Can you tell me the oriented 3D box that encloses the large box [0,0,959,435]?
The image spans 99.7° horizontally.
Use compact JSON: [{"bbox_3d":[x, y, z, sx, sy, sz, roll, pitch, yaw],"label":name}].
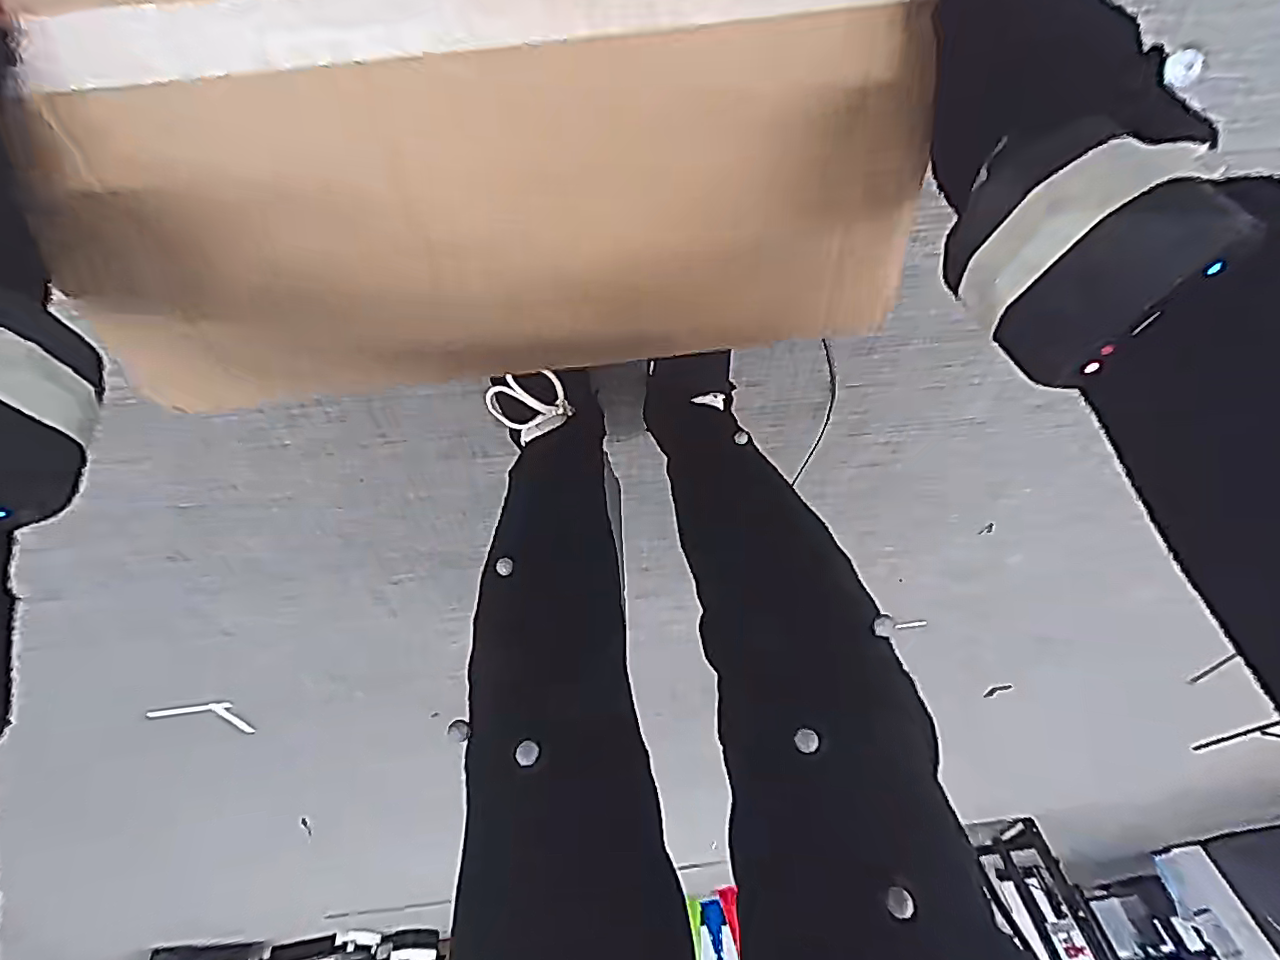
[{"bbox_3d":[-0.085,-0.264,0.314,0.408,0.320,0.320,-8,133,-2],"label":"large box"}]
